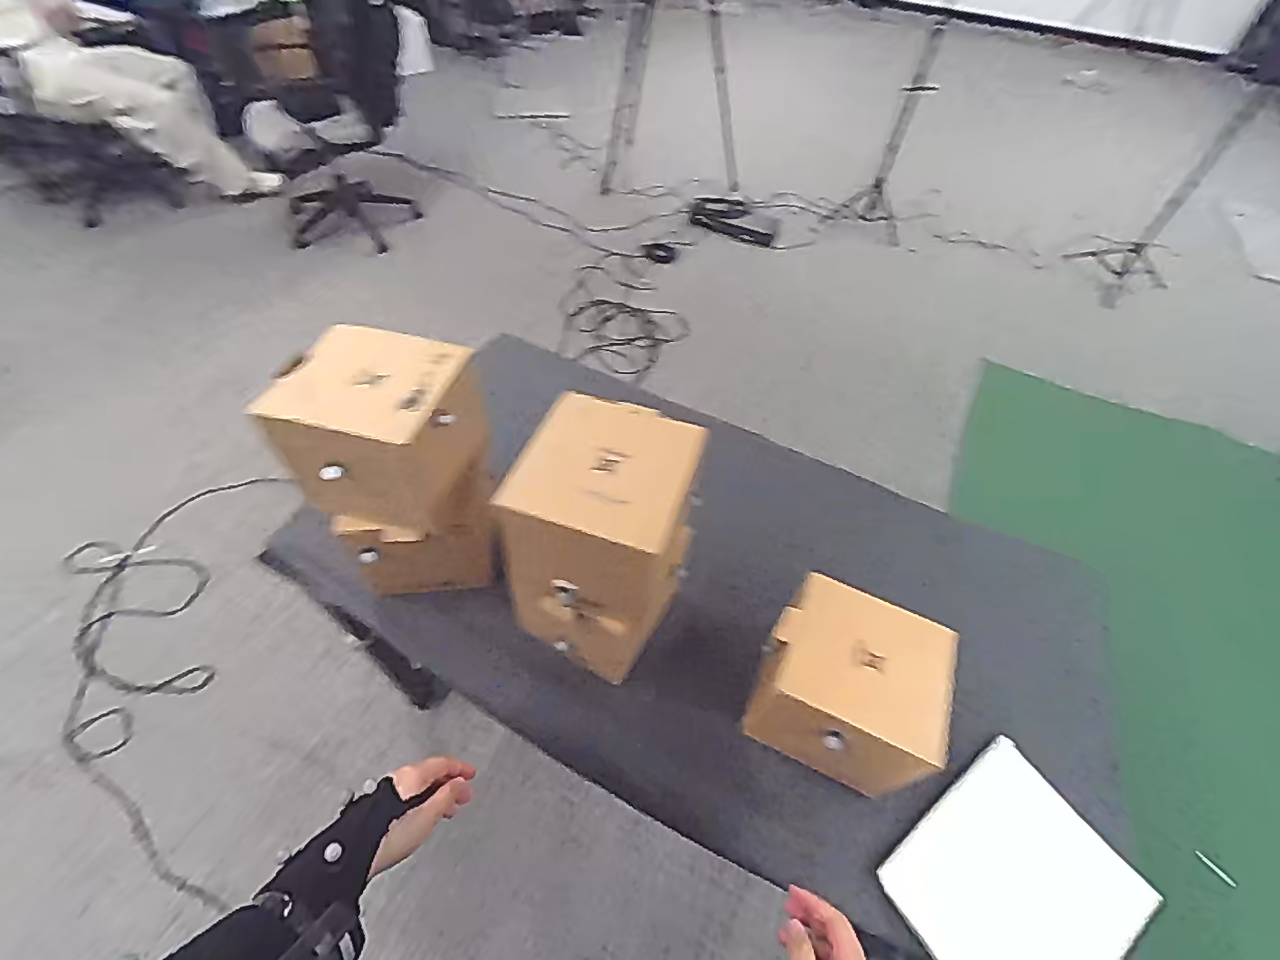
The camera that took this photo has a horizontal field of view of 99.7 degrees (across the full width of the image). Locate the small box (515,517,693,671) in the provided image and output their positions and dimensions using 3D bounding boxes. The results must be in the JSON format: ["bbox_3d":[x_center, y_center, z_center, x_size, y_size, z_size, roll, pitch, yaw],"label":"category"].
[{"bbox_3d":[-0.046,0.125,0.741,0.168,0.176,0.179,25,54,17],"label":"small box"}]

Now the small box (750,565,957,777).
[{"bbox_3d":[0.255,0.241,0.668,0.179,0.176,0.168,22,52,14],"label":"small box"}]

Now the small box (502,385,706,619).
[{"bbox_3d":[-0.035,0.026,0.613,0.168,0.176,0.179,16,52,10],"label":"small box"}]

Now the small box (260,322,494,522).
[{"bbox_3d":[-0.303,-0.067,0.668,0.179,0.176,0.168,11,51,6],"label":"small box"}]
